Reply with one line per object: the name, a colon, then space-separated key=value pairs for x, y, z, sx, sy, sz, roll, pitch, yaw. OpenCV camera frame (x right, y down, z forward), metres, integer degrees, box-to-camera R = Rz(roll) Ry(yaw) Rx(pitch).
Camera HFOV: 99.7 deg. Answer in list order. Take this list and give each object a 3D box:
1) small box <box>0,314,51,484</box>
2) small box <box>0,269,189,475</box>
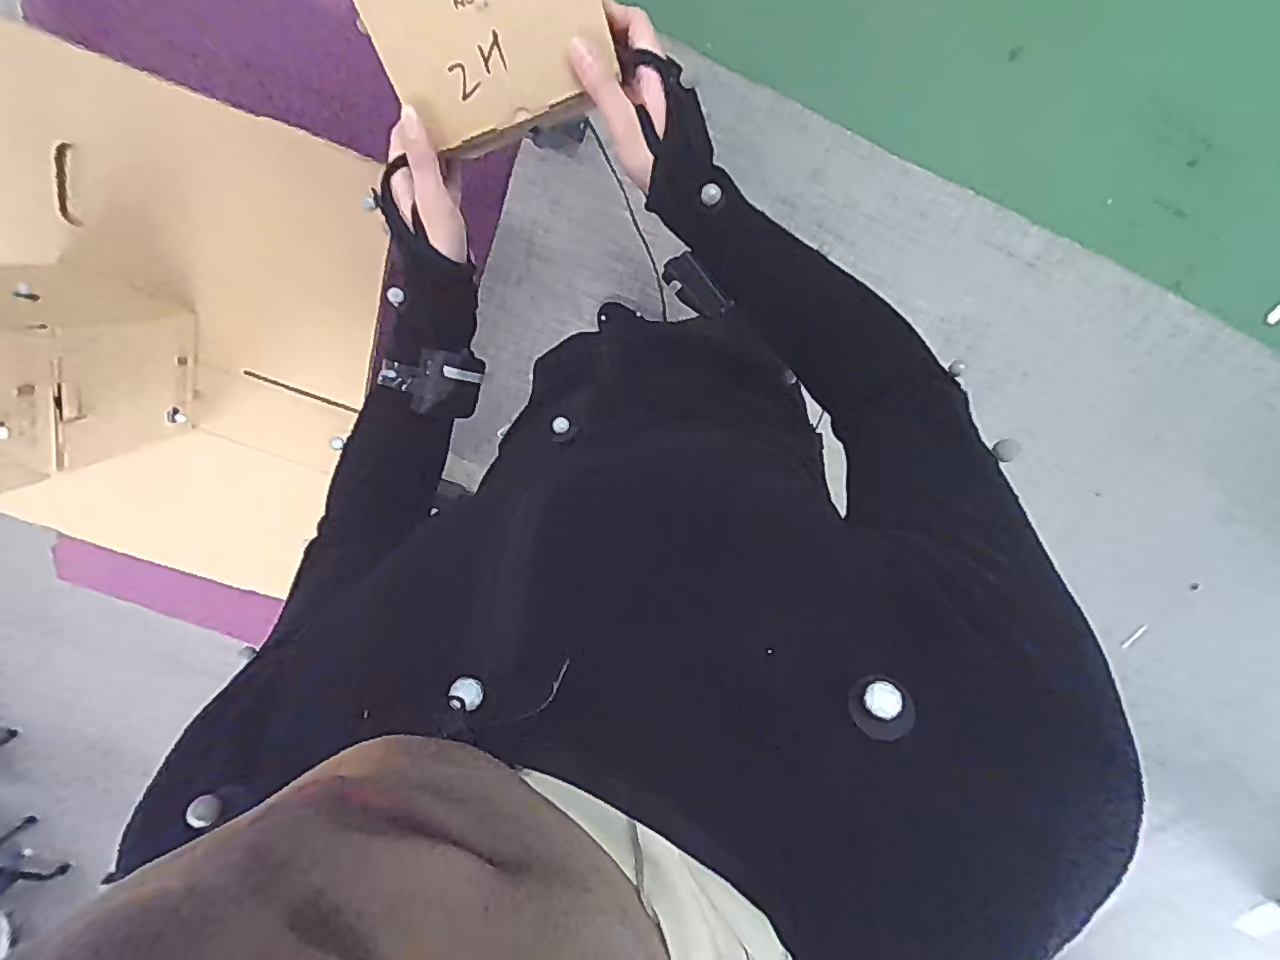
small box: x=-0.675 y=-0.073 z=0.457 sx=0.179 sy=0.176 sz=0.168 roll=18 pitch=111 yaw=-5
small box: x=-0.658 y=-0.131 z=0.608 sx=0.179 sy=0.176 sz=0.168 roll=19 pitch=111 yaw=-4
